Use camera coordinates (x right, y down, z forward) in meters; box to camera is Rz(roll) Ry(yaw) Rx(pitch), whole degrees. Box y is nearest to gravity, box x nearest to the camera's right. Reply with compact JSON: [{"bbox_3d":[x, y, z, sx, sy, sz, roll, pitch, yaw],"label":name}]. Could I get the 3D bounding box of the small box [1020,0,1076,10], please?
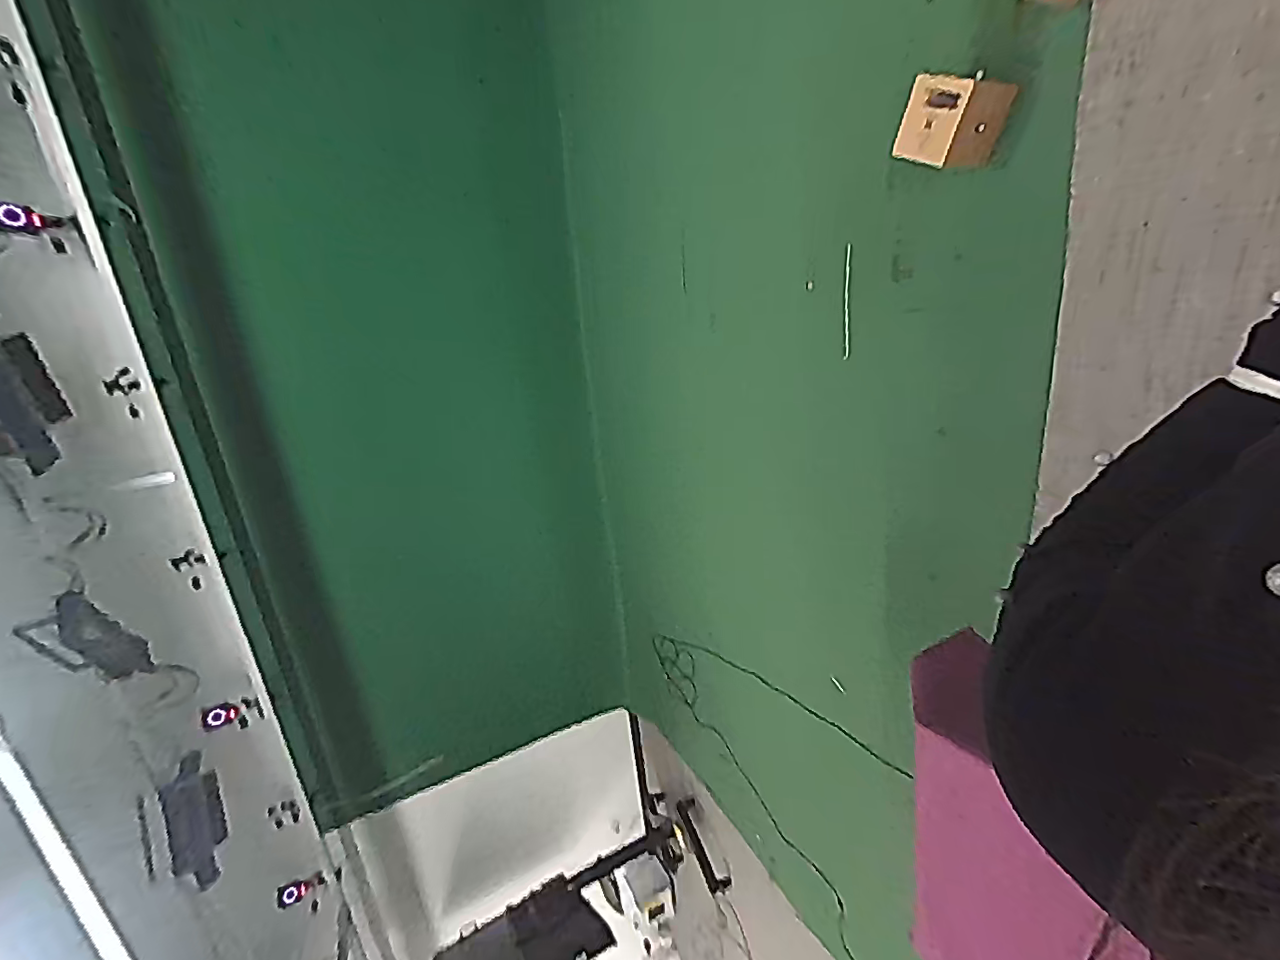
[{"bbox_3d":[0.851,-1.107,1.102,0.168,0.176,0.179,65,153,24],"label":"small box"}]
